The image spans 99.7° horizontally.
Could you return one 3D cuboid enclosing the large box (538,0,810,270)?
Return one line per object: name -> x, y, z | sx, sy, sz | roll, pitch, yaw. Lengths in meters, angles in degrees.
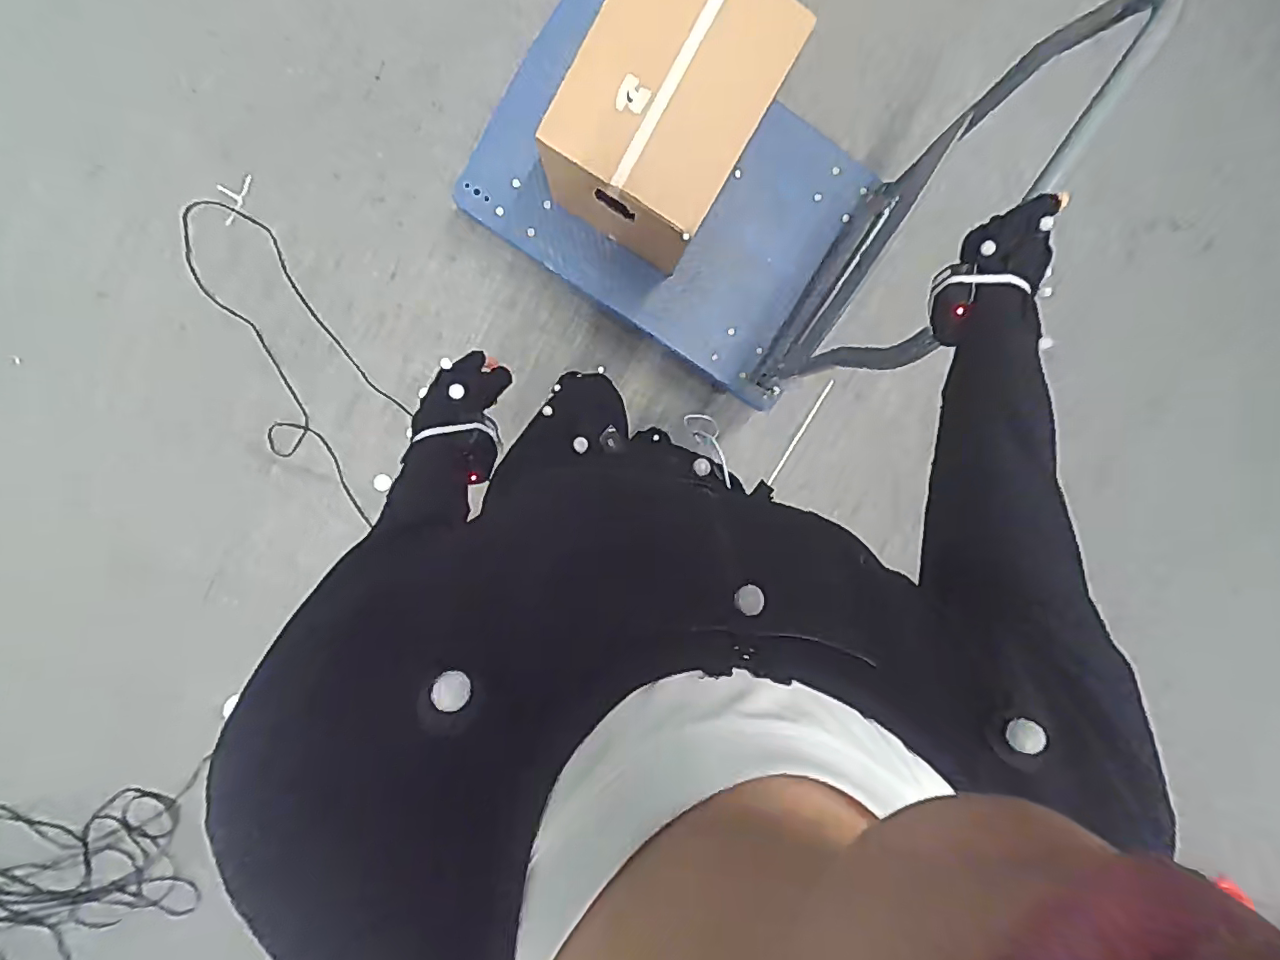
large box -> 0.049, -0.692, 1.042 | 0.320, 0.320, 0.408 | 30, 97, -6
